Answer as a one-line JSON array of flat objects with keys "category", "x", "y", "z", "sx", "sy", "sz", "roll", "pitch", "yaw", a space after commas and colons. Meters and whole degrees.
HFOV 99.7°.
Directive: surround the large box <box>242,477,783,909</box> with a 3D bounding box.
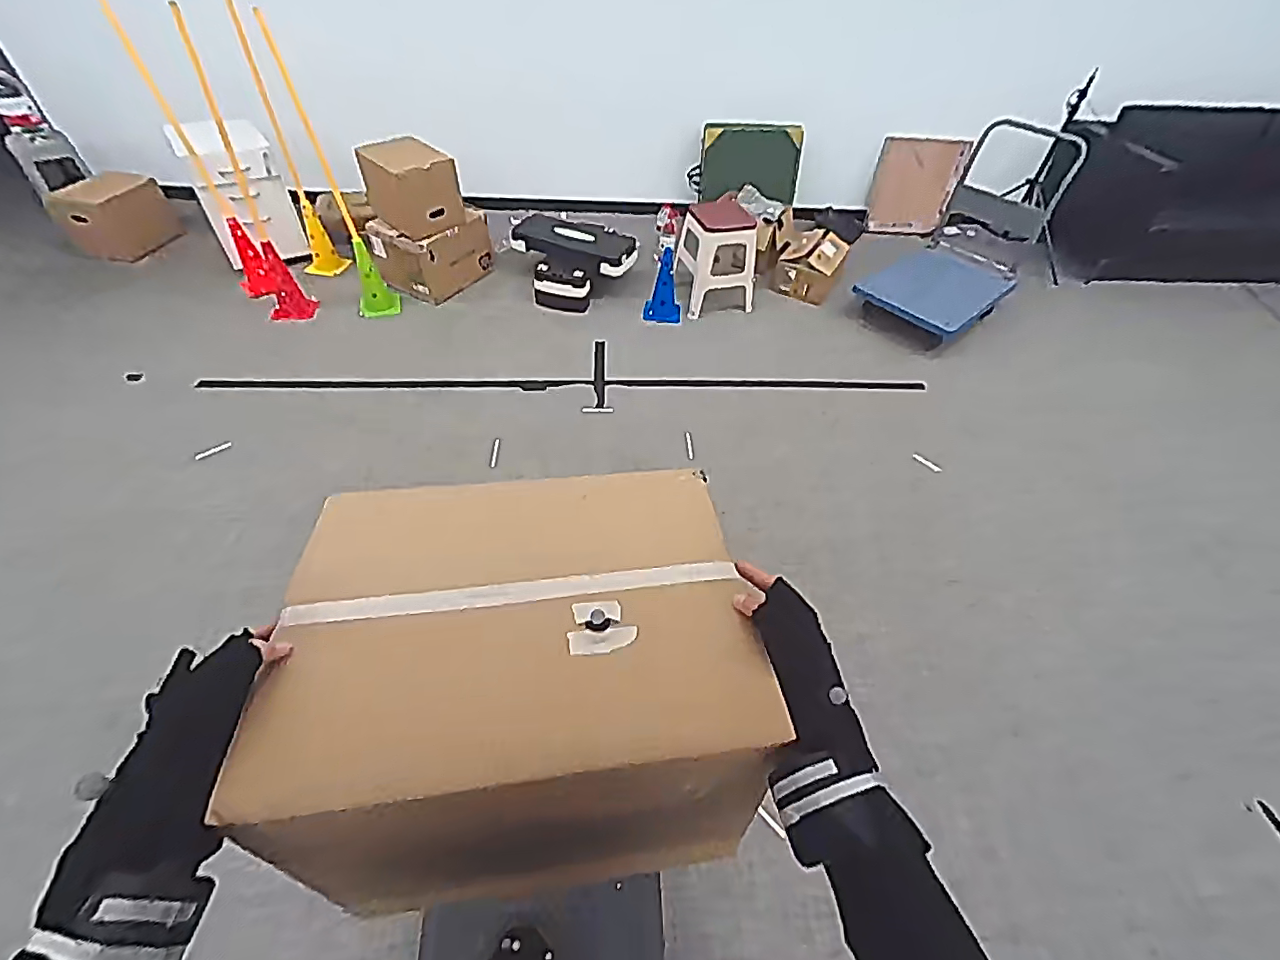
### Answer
[{"category": "large box", "x": -0.110, "y": 0.222, "z": 0.604, "sx": 0.408, "sy": 0.320, "sz": 0.320, "roll": -4, "pitch": 42, "yaw": -8}]
